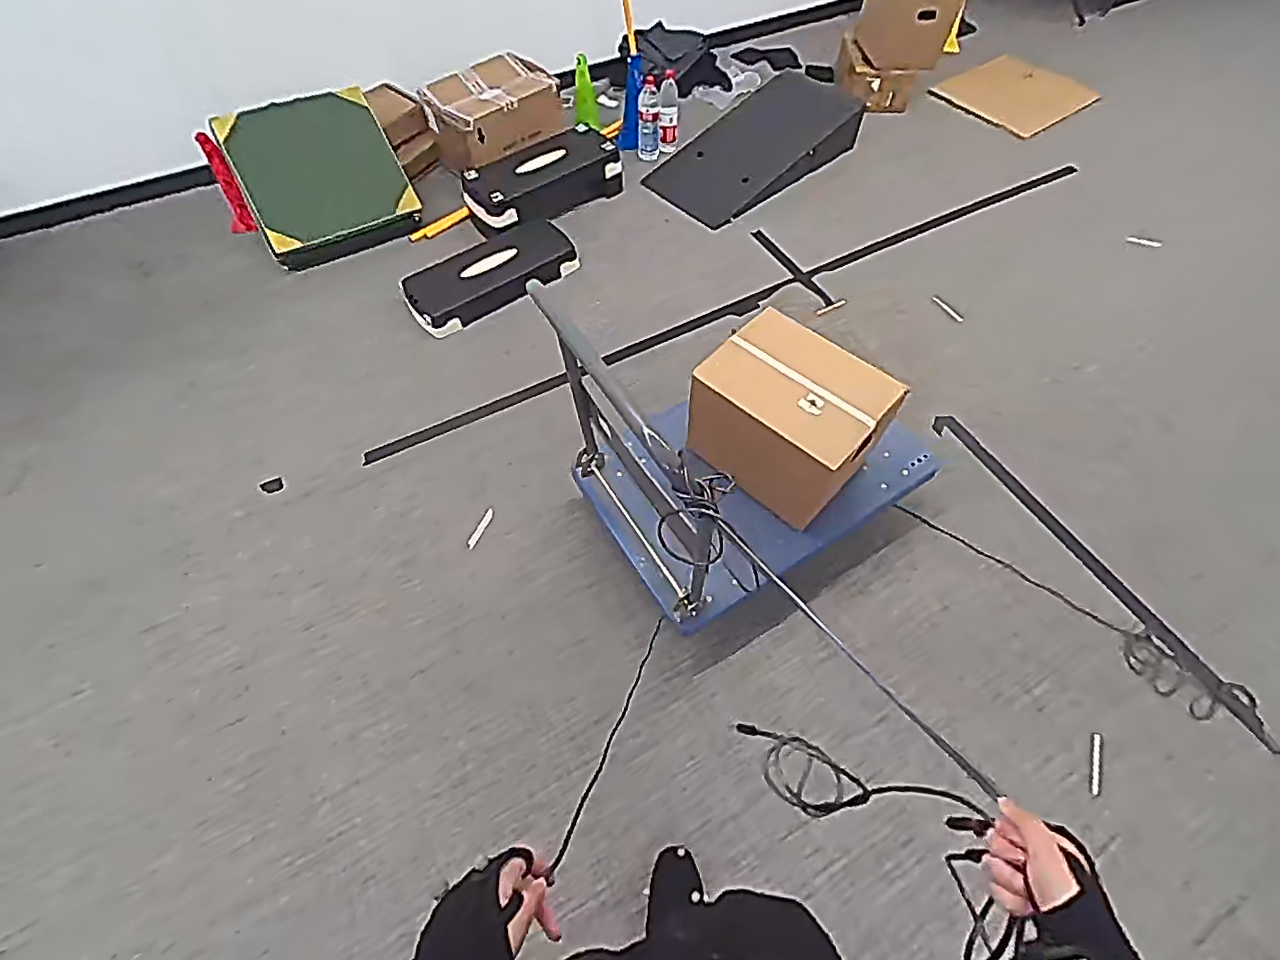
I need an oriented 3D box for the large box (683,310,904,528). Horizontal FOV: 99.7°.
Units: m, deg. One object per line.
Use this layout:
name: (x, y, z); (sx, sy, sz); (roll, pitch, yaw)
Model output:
large box: (0.364, -0.153, 1.390); (0.408, 0.320, 0.320); (39, 68, 21)
